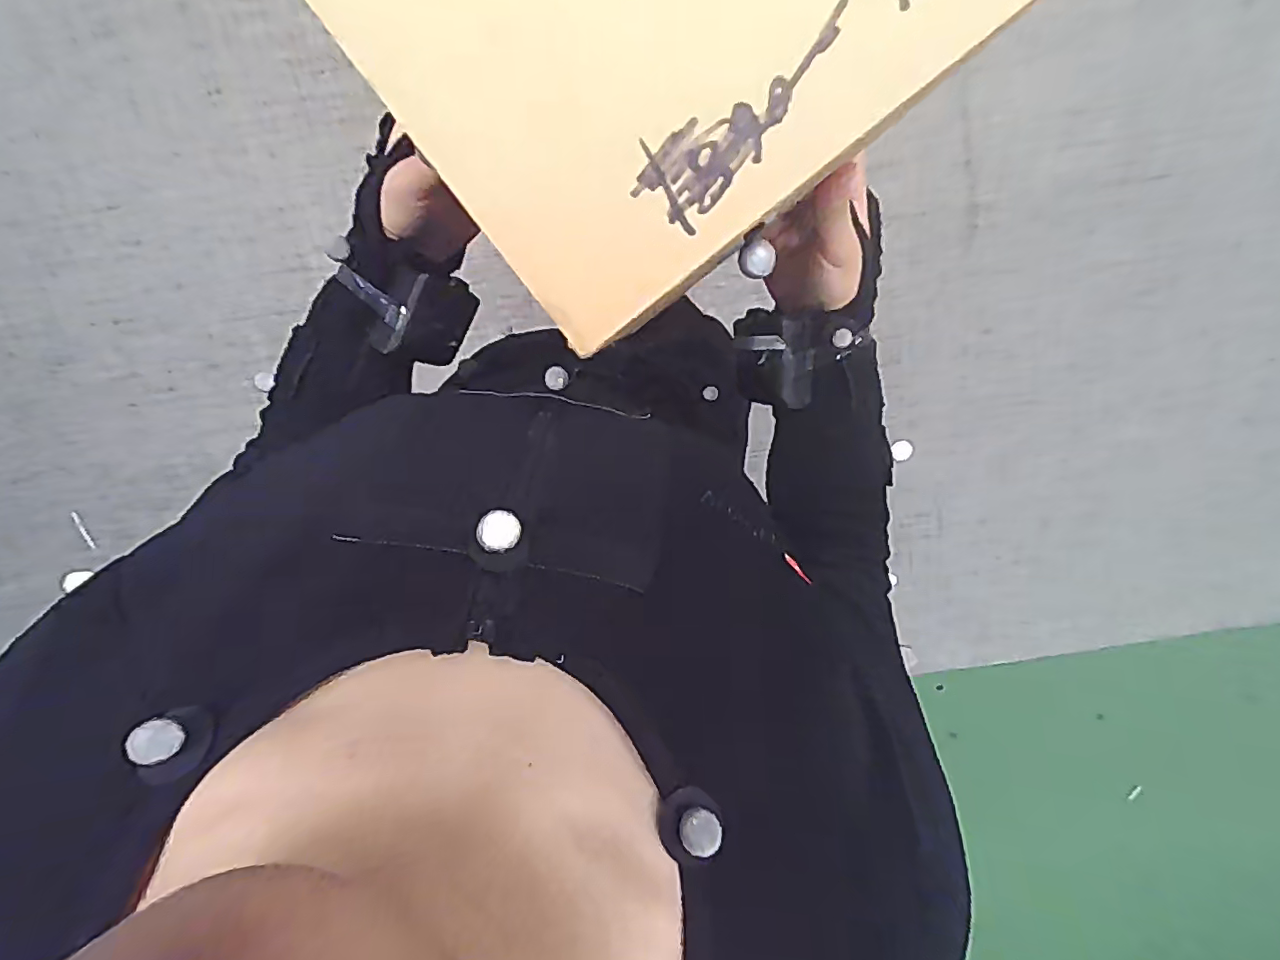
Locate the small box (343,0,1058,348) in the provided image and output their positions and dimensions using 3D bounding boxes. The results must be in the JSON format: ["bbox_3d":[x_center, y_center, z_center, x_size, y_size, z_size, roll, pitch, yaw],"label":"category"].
[{"bbox_3d":[0.006,-0.175,0.228,0.168,0.176,0.179,-36,101,12],"label":"small box"}]
